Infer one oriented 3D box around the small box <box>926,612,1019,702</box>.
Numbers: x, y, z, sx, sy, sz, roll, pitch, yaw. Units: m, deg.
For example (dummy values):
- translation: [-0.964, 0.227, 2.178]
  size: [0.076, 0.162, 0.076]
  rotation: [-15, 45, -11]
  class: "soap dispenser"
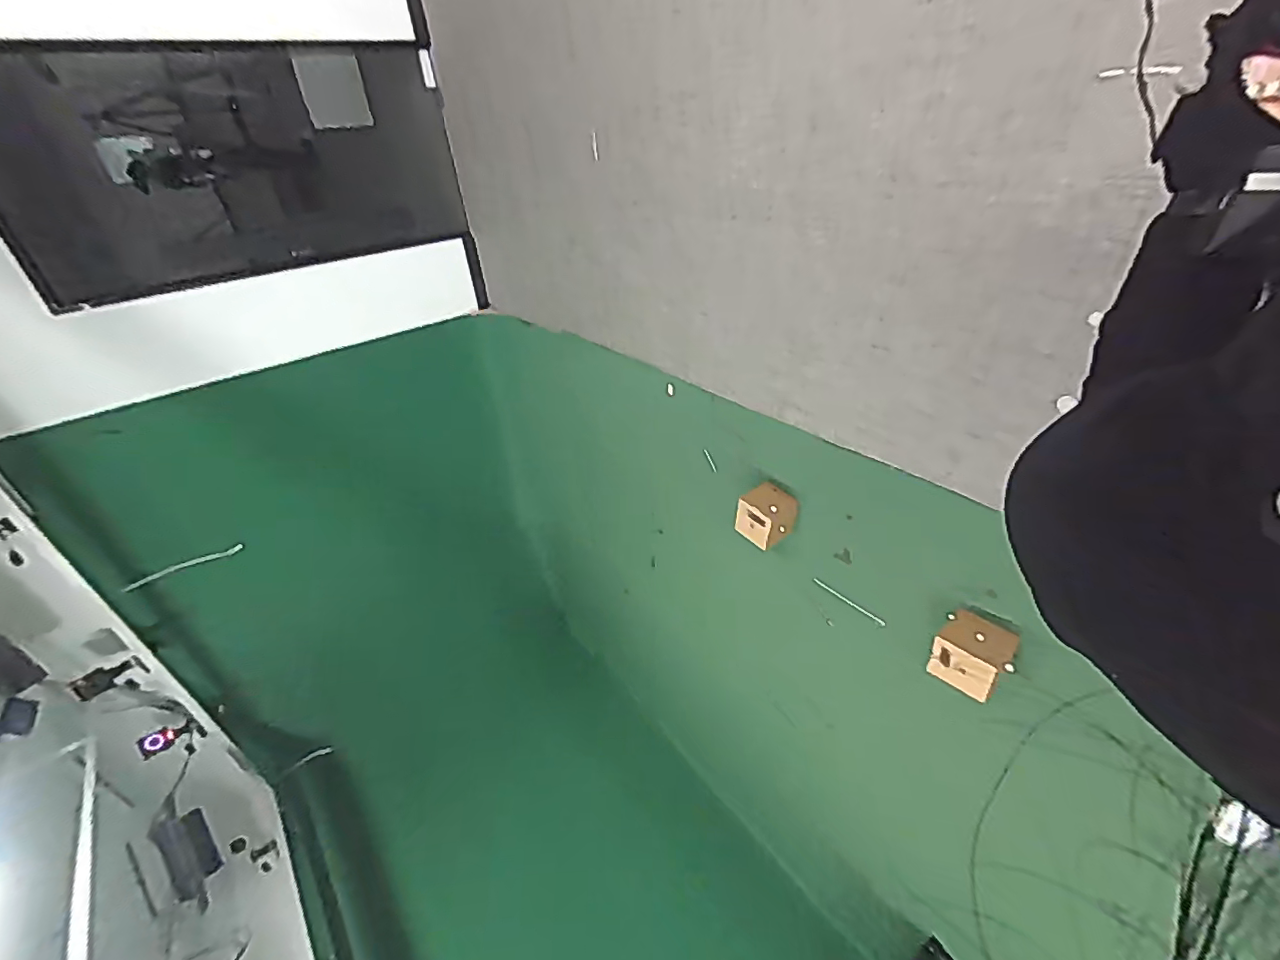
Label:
- translation: [1.031, 0.539, 1.682]
  size: [0.179, 0.176, 0.168]
  rotation: [29, 136, 42]
  class: "small box"
